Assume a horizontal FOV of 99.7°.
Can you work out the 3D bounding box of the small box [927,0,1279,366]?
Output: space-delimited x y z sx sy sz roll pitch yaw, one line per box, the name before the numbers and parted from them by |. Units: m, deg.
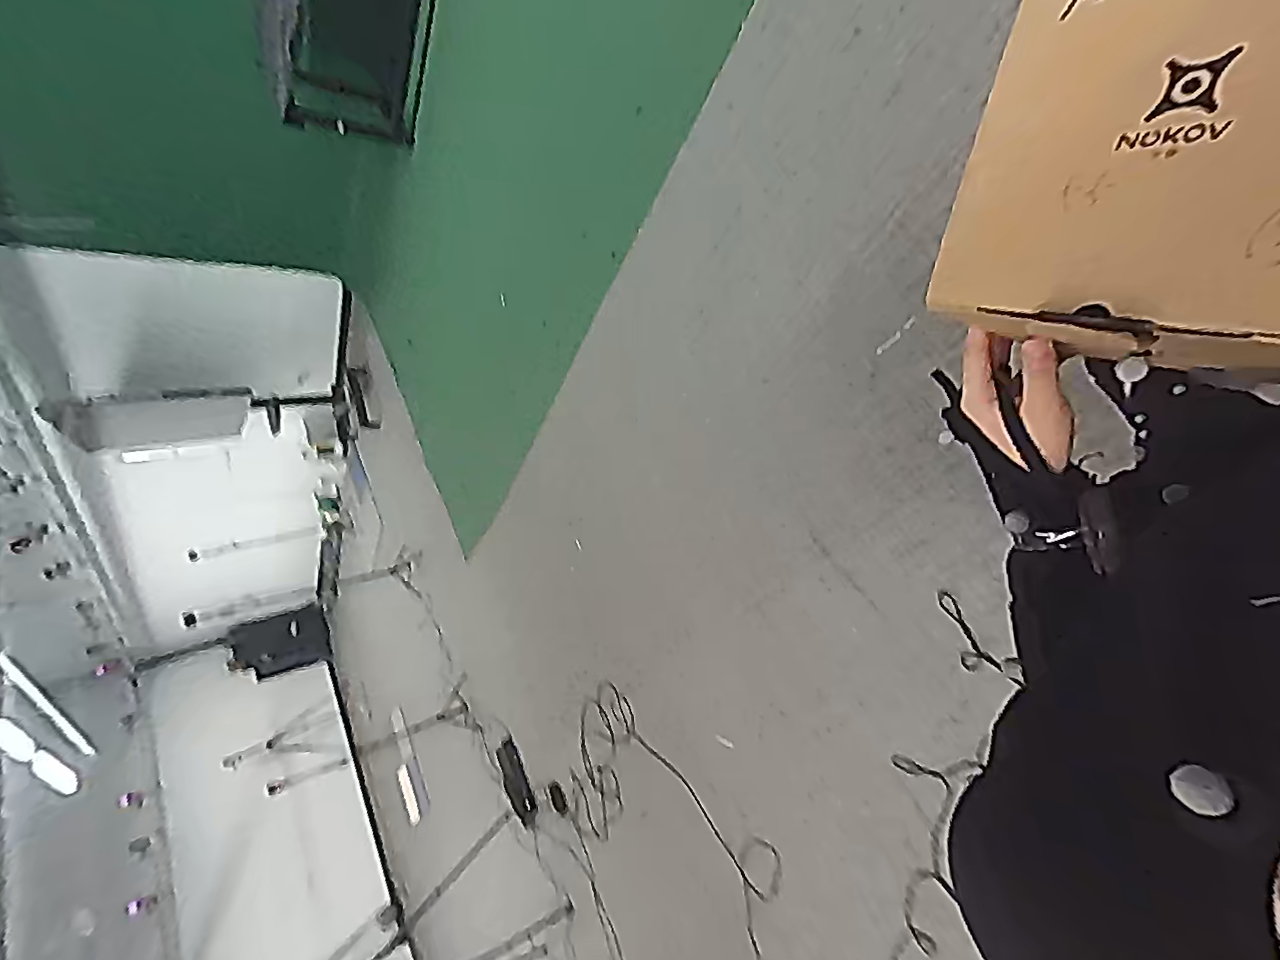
small box | 0.295 -0.162 0.283 0.168 0.176 0.179 31 116 50
